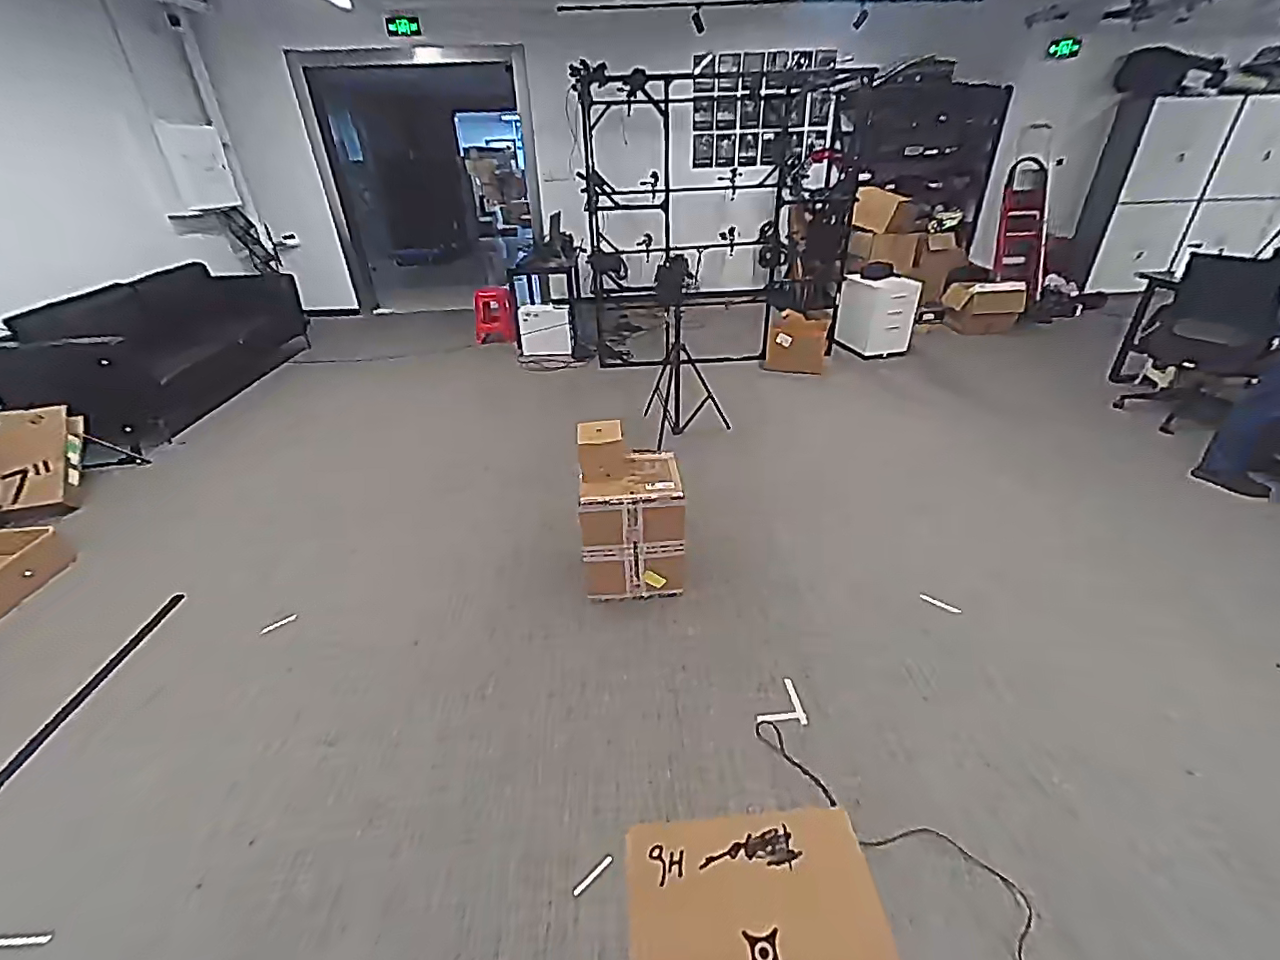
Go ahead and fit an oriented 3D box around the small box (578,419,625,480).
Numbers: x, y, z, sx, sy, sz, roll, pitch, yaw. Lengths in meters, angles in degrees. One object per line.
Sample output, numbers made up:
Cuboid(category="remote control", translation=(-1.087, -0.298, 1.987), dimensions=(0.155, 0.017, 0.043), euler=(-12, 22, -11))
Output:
Cuboid(category="small box", translation=(-0.148, -0.119, 2.100), dimensions=(0.168, 0.176, 0.179), euler=(-6, 33, -2))
